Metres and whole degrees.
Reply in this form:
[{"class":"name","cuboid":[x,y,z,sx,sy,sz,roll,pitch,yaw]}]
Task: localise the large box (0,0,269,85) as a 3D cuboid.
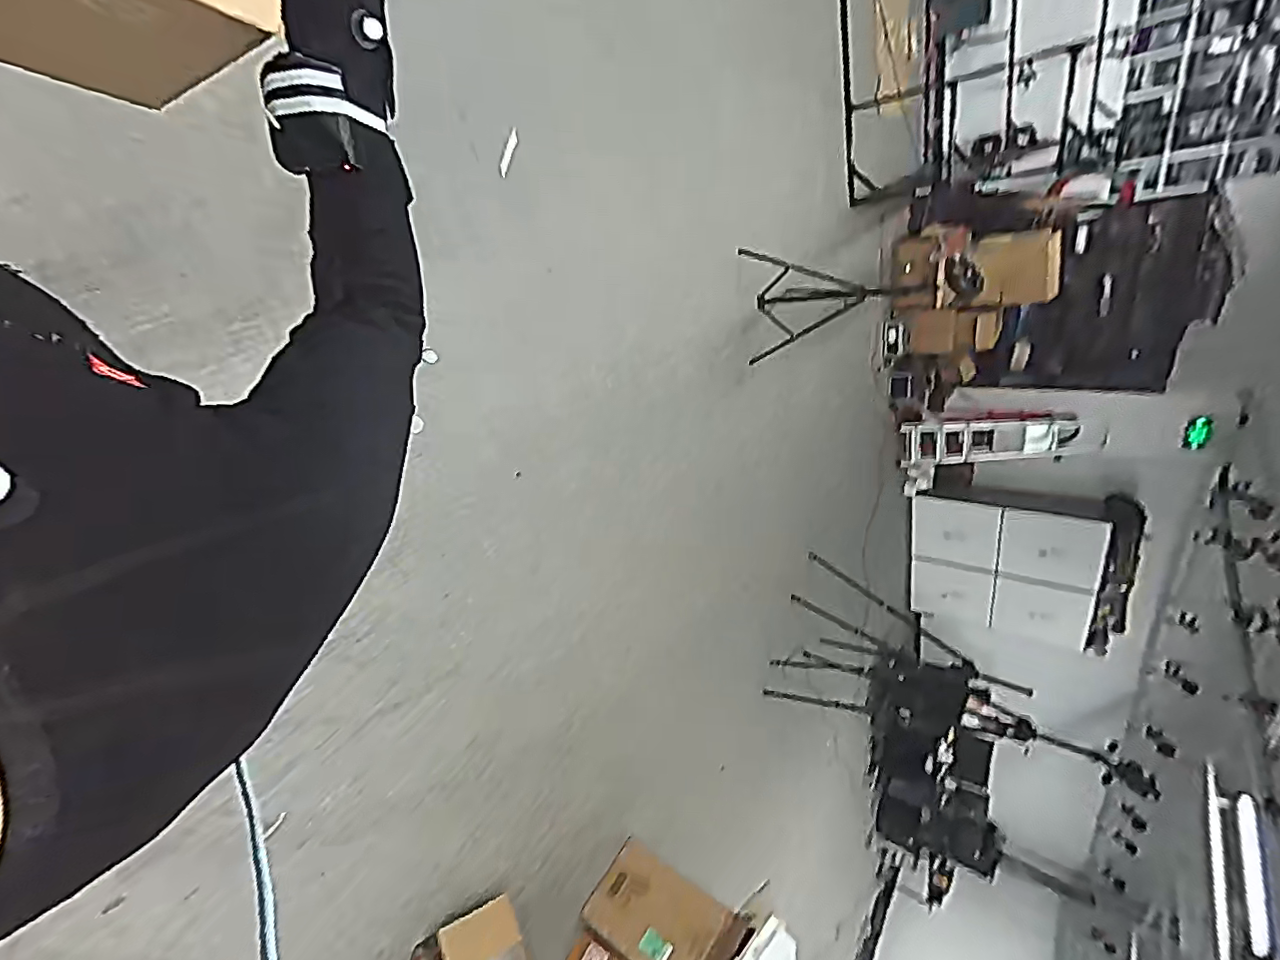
[{"class":"large box","cuboid":[-0.474,-0.466,0.256,0.408,0.320,0.320,-14,115,-51]}]
